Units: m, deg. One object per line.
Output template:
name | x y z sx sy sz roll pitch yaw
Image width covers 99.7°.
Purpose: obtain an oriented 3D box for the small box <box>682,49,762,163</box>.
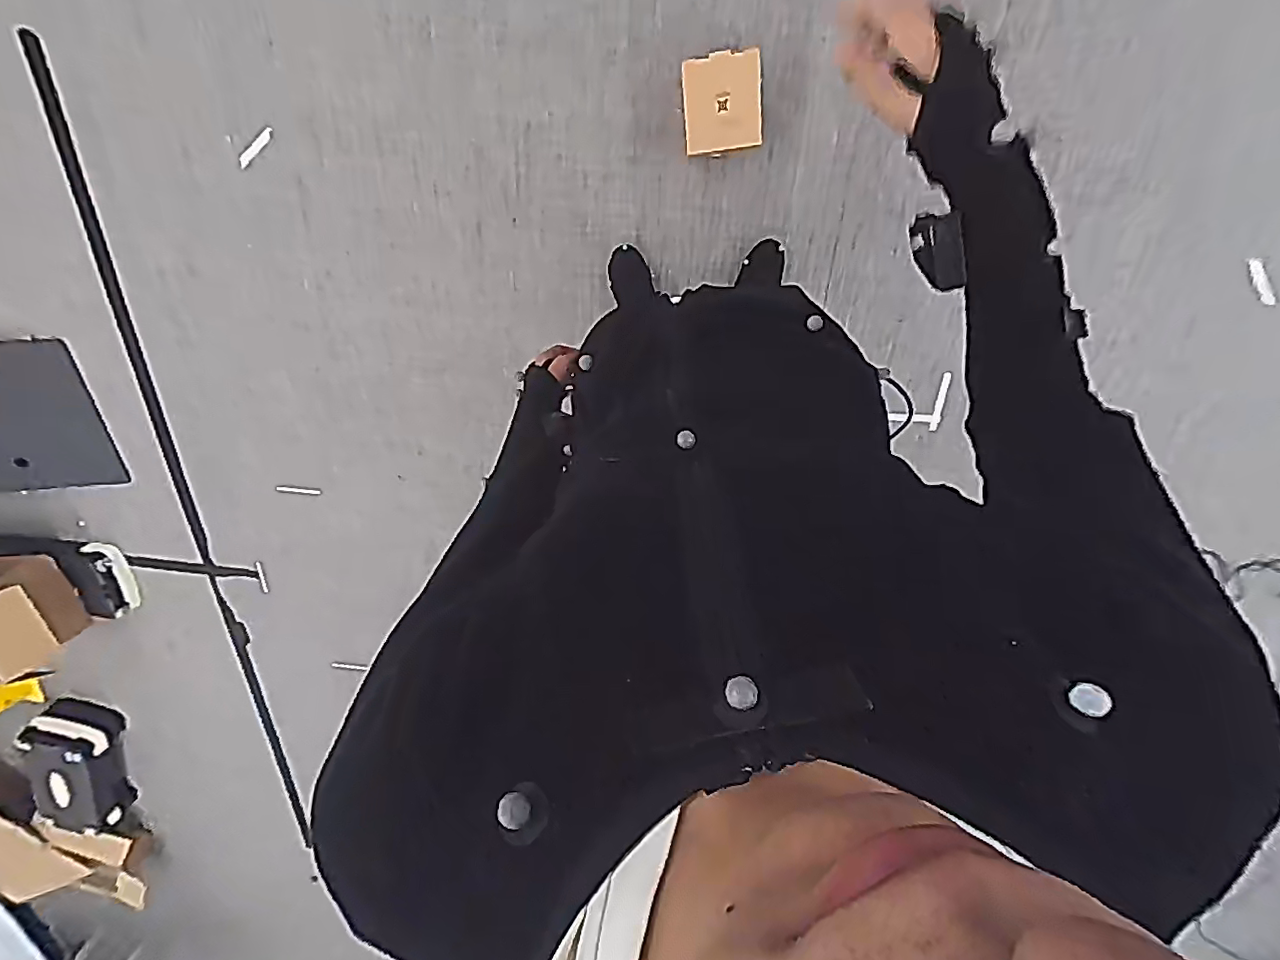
small box | 0.182 -0.836 1.224 0.168 0.176 0.179 -4 115 7
